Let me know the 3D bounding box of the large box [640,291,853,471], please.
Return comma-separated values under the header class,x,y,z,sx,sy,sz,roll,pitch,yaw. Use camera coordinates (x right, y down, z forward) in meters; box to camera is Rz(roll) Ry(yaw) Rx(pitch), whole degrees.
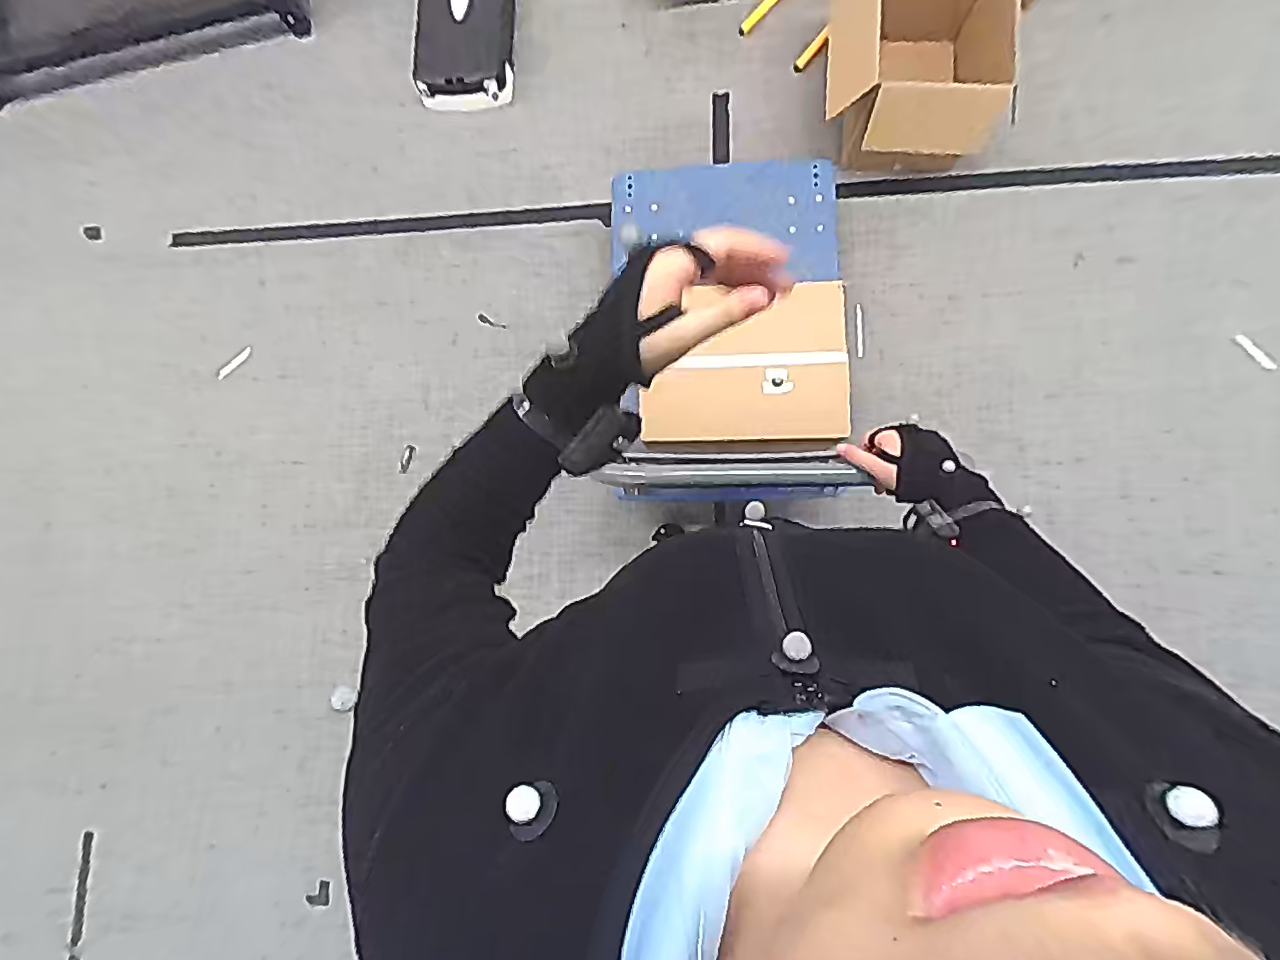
class,x,y,z,sx,sy,sz,roll,pitch,yaw
large box,0.209,-0.195,1.193,0.408,0.320,0.320,-1,85,3
